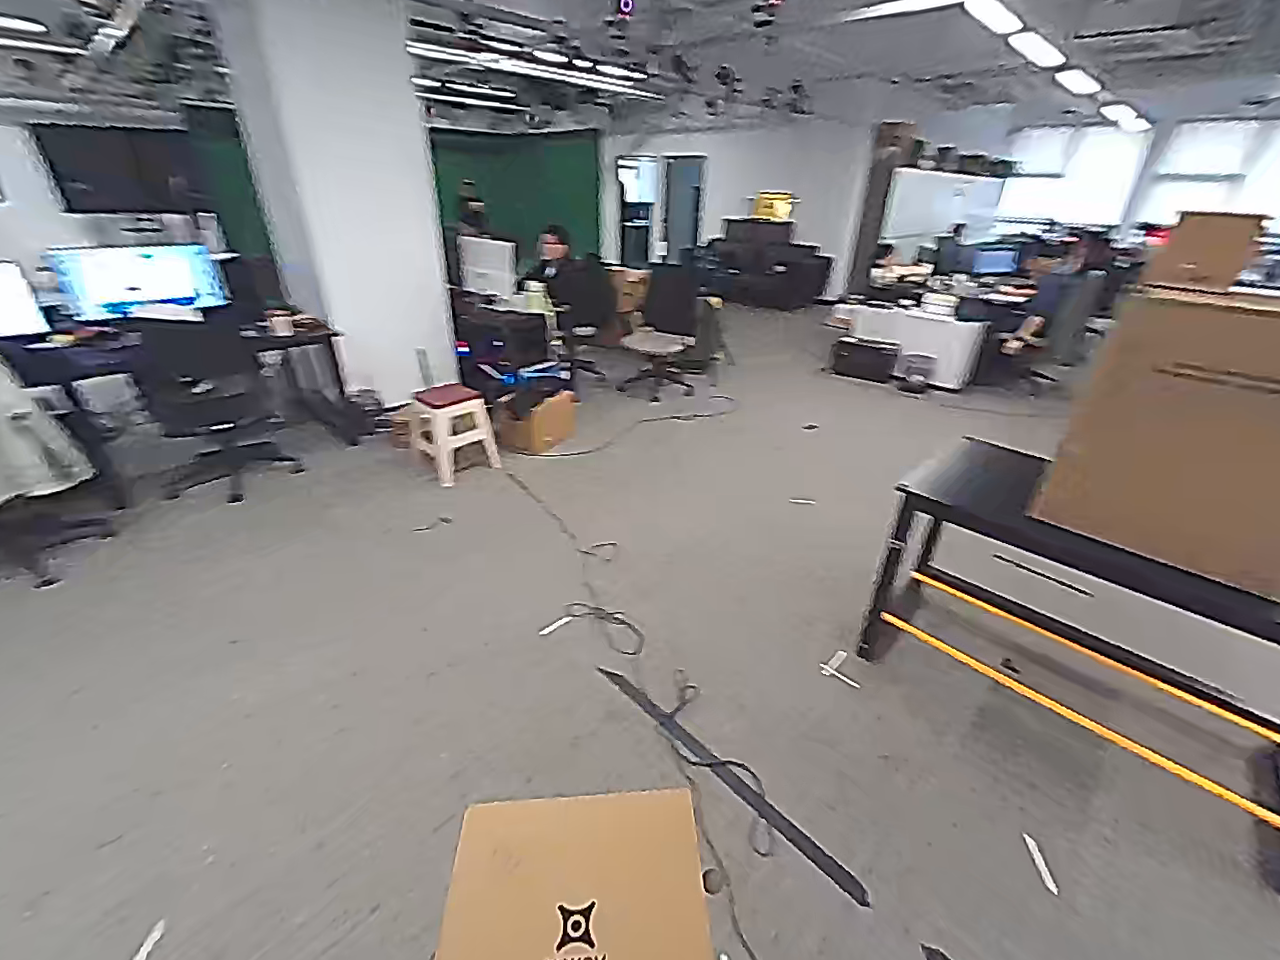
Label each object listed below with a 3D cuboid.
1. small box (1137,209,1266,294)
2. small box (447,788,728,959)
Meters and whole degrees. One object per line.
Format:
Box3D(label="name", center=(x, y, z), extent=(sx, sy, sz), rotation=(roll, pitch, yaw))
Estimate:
Box3D(label="small box", center=(1.340, -0.550, 1.298), extent=(0.168, 0.176, 0.179), rotation=(26, 36, 38))
Box3D(label="small box", center=(-0.030, 0.342, 0.362), extent=(0.168, 0.176, 0.179), rotation=(-3, 31, -1))
